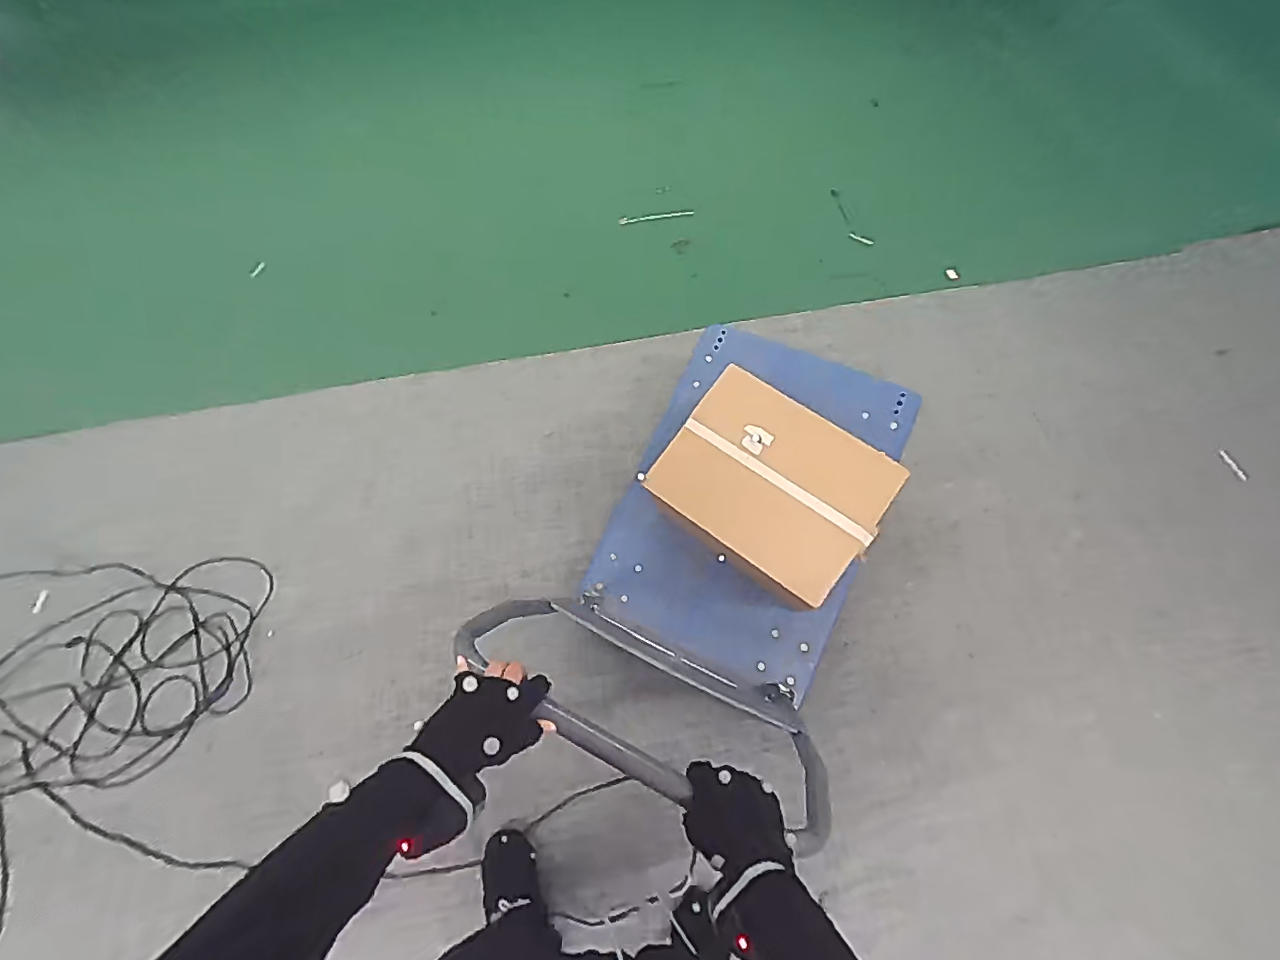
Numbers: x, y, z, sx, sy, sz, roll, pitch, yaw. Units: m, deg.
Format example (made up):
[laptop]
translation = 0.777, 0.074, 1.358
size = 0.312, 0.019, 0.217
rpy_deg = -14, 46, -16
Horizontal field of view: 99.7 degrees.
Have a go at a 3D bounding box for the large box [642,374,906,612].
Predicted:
[large box]
translation = 0.274, 0.046, 1.172
size = 0.408, 0.320, 0.320
rpy_deg = 36, 84, 17
